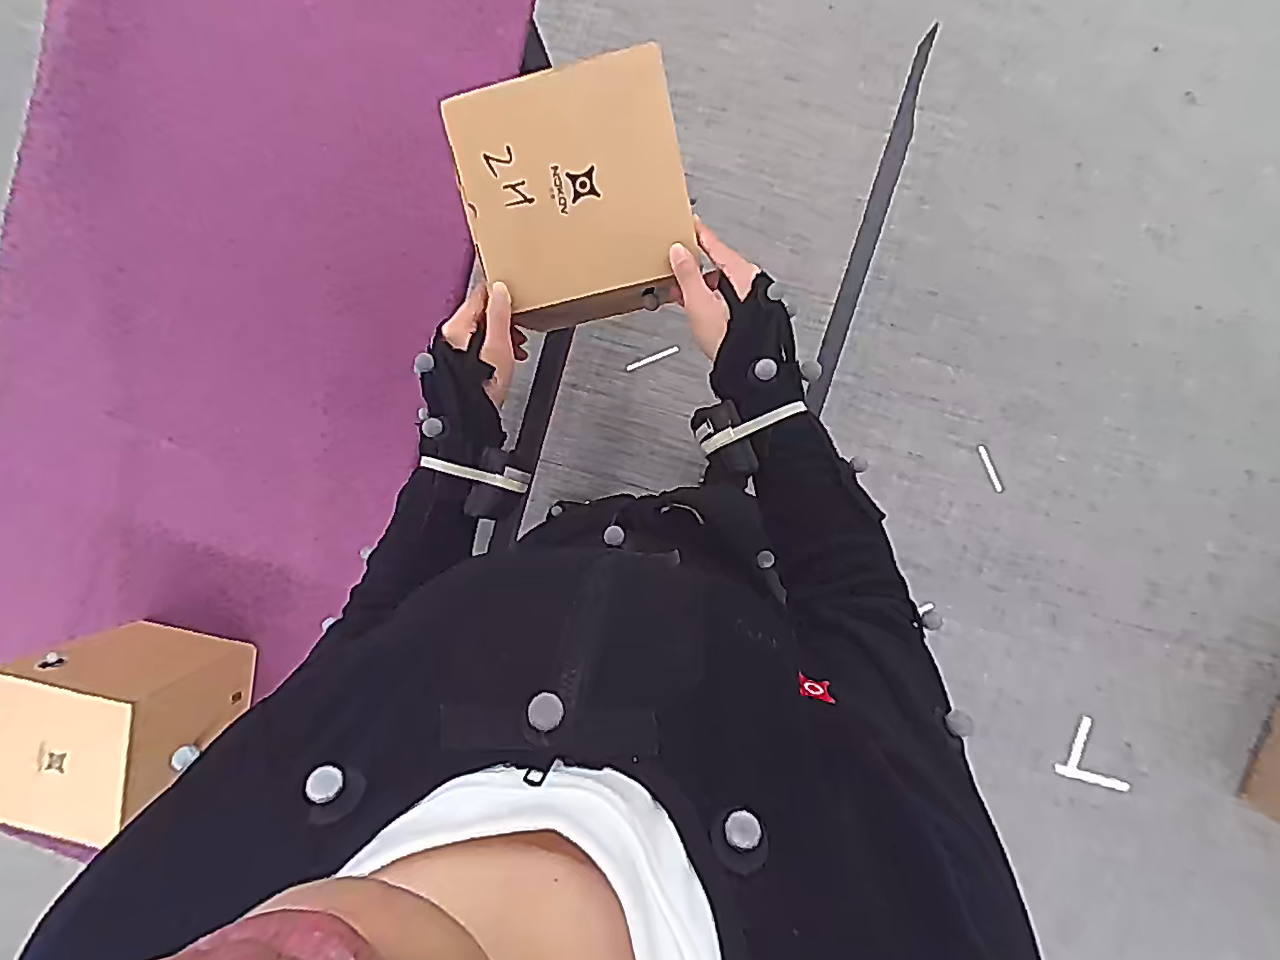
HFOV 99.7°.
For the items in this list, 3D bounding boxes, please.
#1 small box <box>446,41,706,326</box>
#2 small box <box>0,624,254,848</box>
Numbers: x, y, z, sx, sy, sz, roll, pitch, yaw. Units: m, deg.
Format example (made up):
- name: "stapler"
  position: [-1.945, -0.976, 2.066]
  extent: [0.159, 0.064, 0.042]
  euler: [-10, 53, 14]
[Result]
- name: "small box"
  position: [-0.045, -0.245, 0.496]
  extent: [0.179, 0.176, 0.168]
  euler: [-11, 100, 5]
- name: "small box"
  position: [-0.607, 0.287, 0.645]
  extent: [0.179, 0.176, 0.168]
  euler: [10, 94, 6]
